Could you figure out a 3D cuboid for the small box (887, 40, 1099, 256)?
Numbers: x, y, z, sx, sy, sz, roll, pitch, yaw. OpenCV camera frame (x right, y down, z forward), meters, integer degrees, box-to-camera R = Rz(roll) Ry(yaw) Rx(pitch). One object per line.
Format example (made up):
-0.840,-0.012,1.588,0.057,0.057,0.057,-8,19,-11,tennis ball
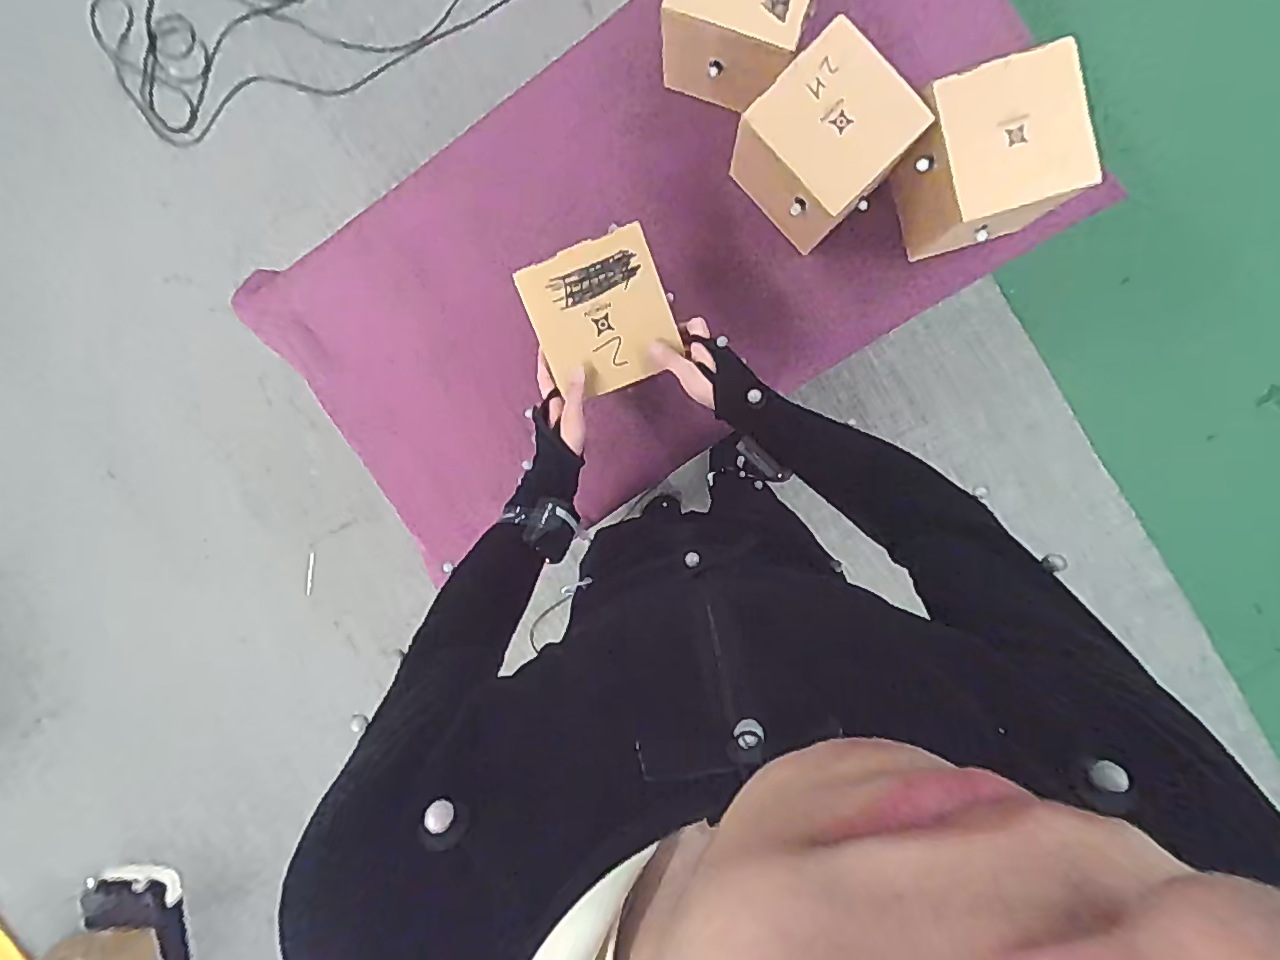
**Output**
0.459,-0.423,0.730,0.168,0.176,0.179,-15,93,7,small box
